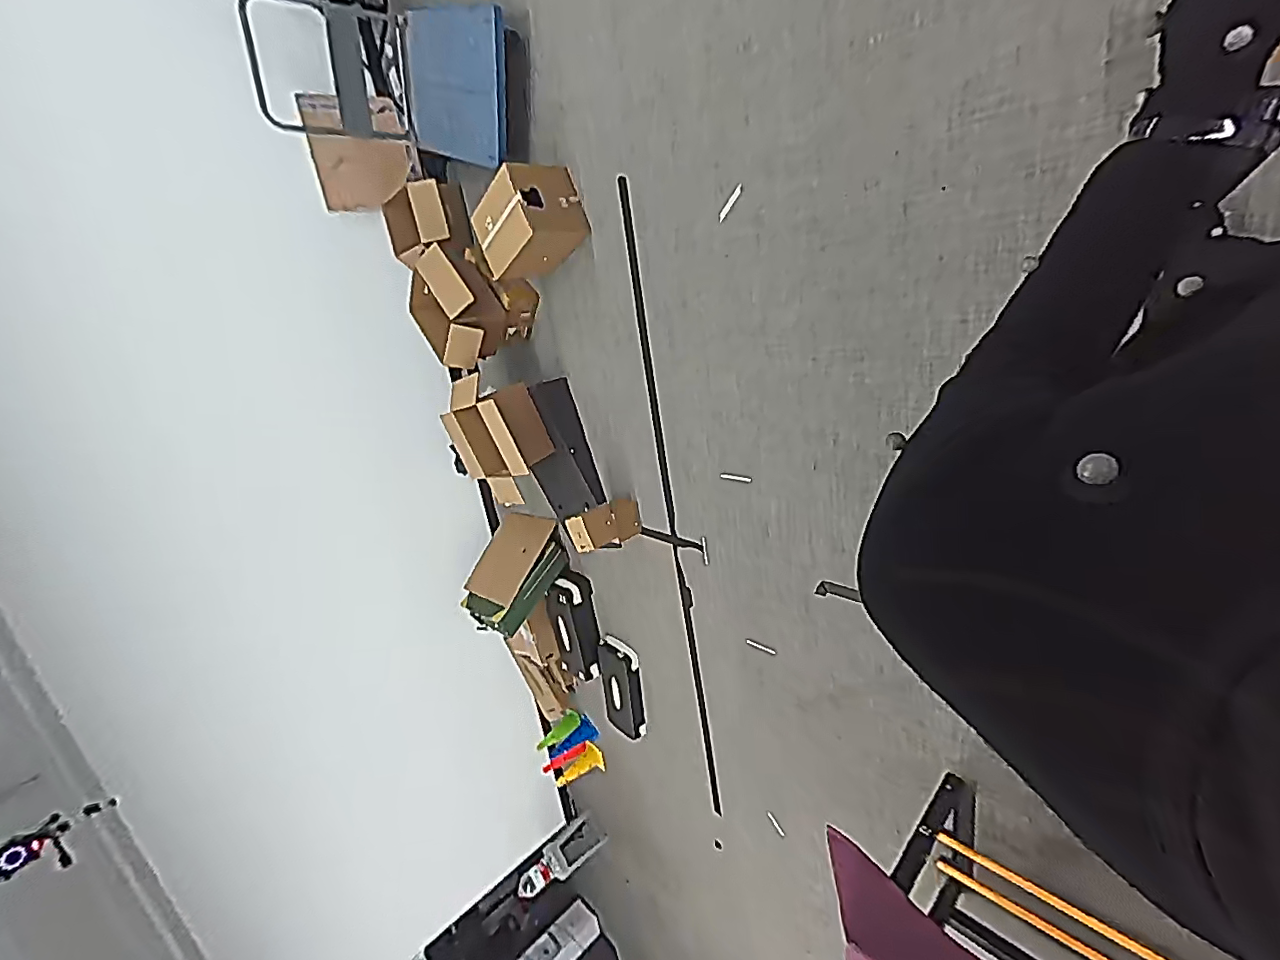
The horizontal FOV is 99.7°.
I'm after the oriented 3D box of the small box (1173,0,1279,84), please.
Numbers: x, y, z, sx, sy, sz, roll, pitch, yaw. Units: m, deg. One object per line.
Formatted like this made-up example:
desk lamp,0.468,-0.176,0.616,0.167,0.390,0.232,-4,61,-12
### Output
small box,1.046,-0.807,0.917,0.179,0.176,0.168,10,116,48
